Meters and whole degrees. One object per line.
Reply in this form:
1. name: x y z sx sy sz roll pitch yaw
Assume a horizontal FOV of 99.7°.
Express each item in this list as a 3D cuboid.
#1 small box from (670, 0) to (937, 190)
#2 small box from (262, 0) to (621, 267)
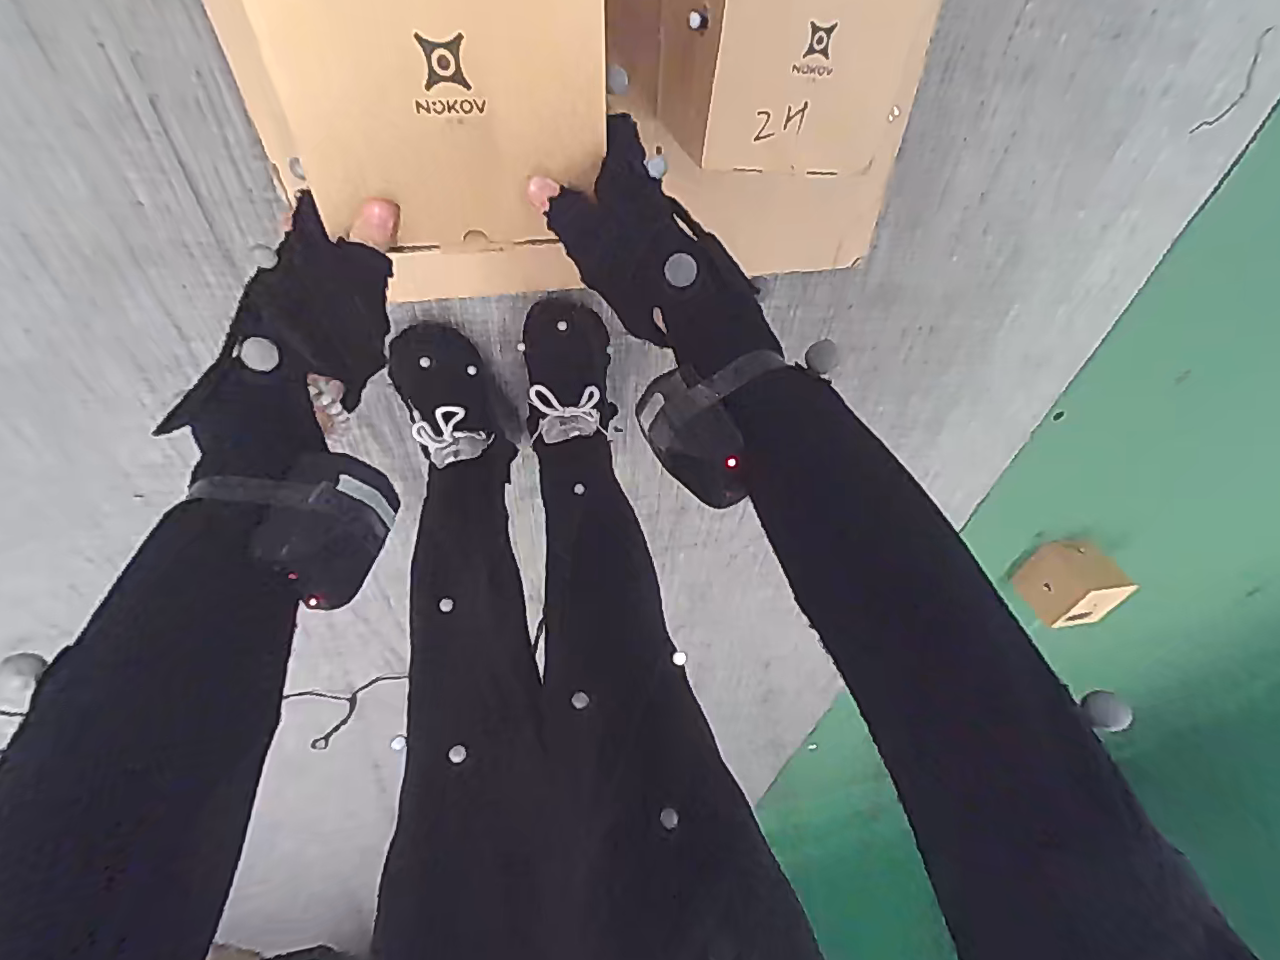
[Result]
1. small box: 0.131 -0.389 0.494 0.168 0.176 0.179 -3 135 -11
2. small box: -0.108 -0.255 0.333 0.168 0.176 0.179 -7 136 -10
